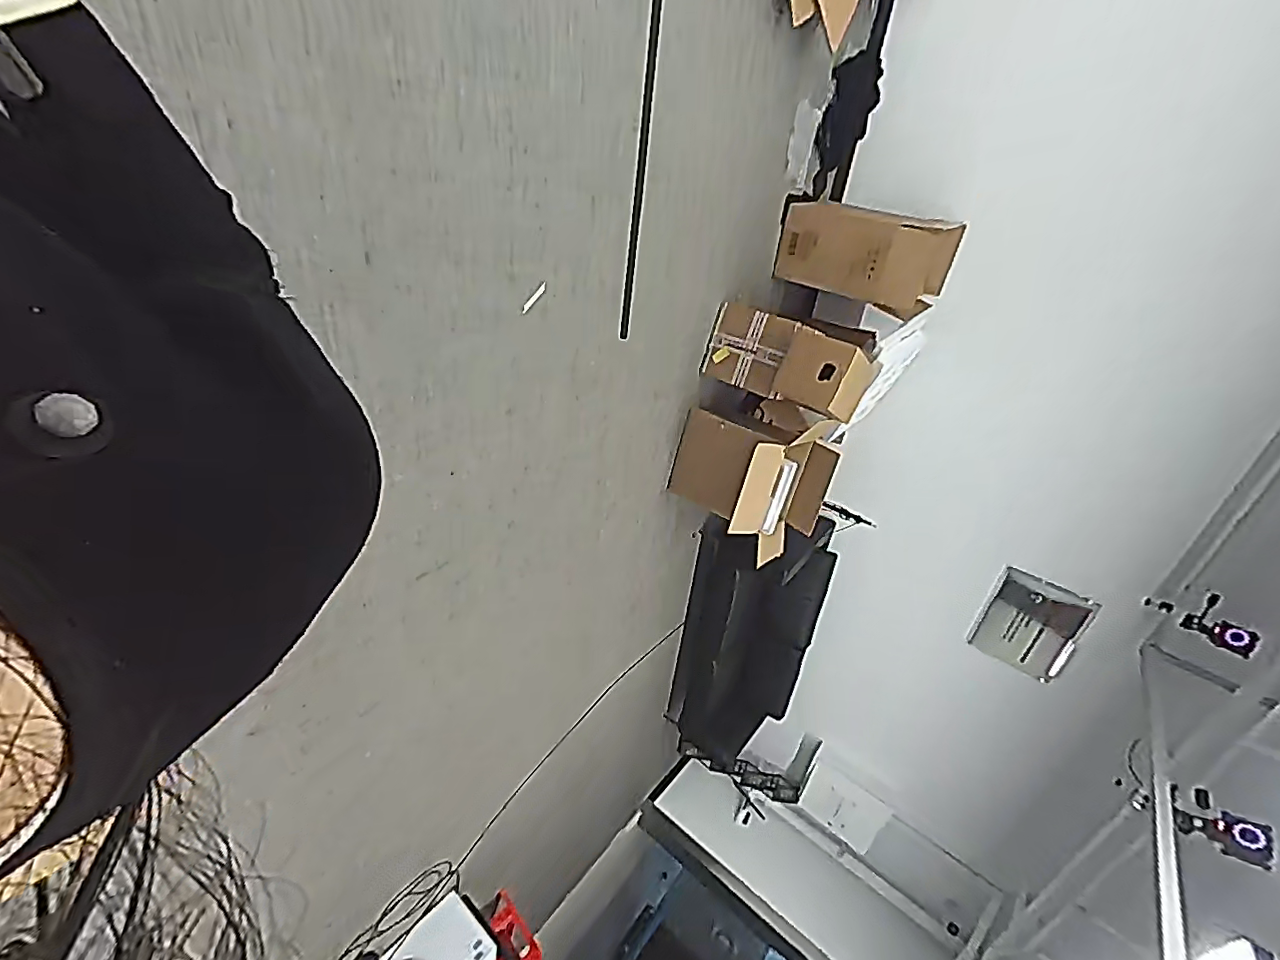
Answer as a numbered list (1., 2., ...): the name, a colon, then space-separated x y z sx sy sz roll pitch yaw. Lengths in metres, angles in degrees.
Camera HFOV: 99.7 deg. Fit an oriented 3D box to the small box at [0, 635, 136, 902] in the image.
1. small box: -0.621 0.271 0.502 0.168 0.176 0.179 -25 132 -47
